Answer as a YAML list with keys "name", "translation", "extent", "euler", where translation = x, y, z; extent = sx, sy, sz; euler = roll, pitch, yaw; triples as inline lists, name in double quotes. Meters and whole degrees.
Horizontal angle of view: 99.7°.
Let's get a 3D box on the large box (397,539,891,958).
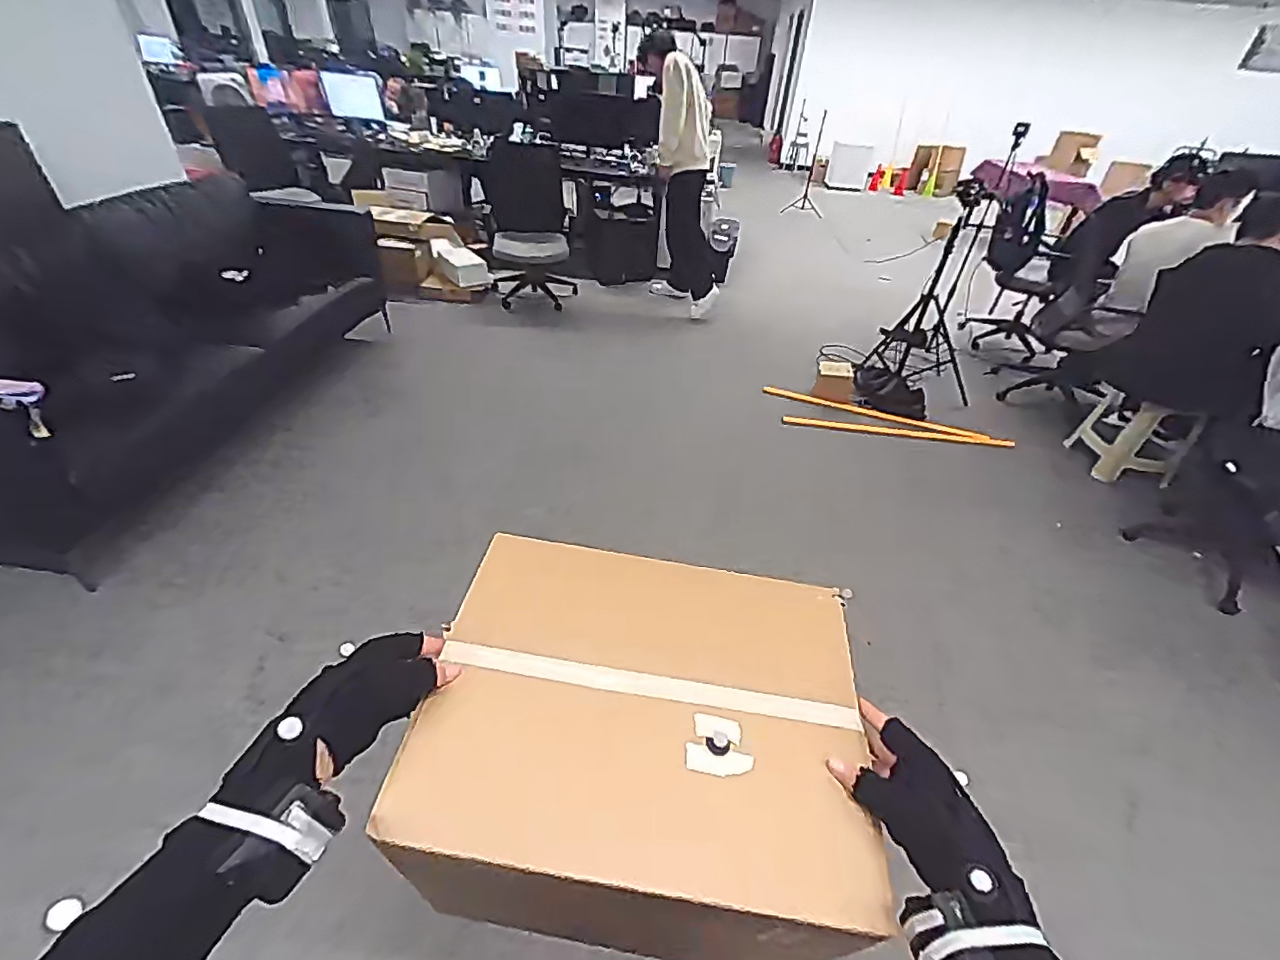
- name: "large box"
  translation: [0.001, 0.307, 0.630]
  extent: [0.408, 0.320, 0.320]
  euler: [9, 43, 1]
